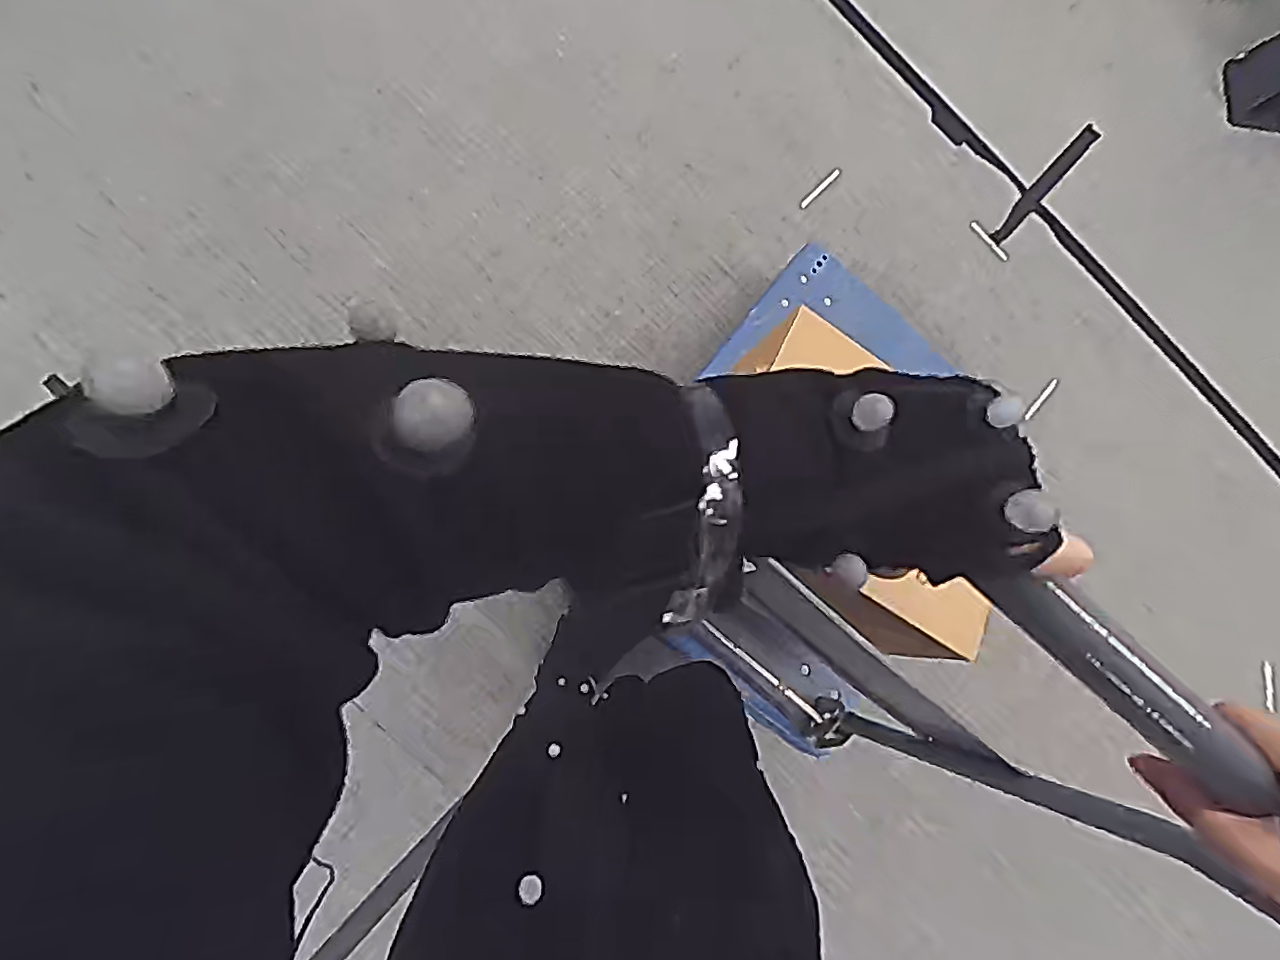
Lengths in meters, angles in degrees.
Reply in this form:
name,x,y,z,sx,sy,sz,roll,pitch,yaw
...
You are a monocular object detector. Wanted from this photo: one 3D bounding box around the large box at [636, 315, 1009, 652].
name,x,y,z,sx,sy,sz,roll,pitch,yaw
large box,0.265,0.031,0.846,0.408,0.320,0.320,32,69,-9
